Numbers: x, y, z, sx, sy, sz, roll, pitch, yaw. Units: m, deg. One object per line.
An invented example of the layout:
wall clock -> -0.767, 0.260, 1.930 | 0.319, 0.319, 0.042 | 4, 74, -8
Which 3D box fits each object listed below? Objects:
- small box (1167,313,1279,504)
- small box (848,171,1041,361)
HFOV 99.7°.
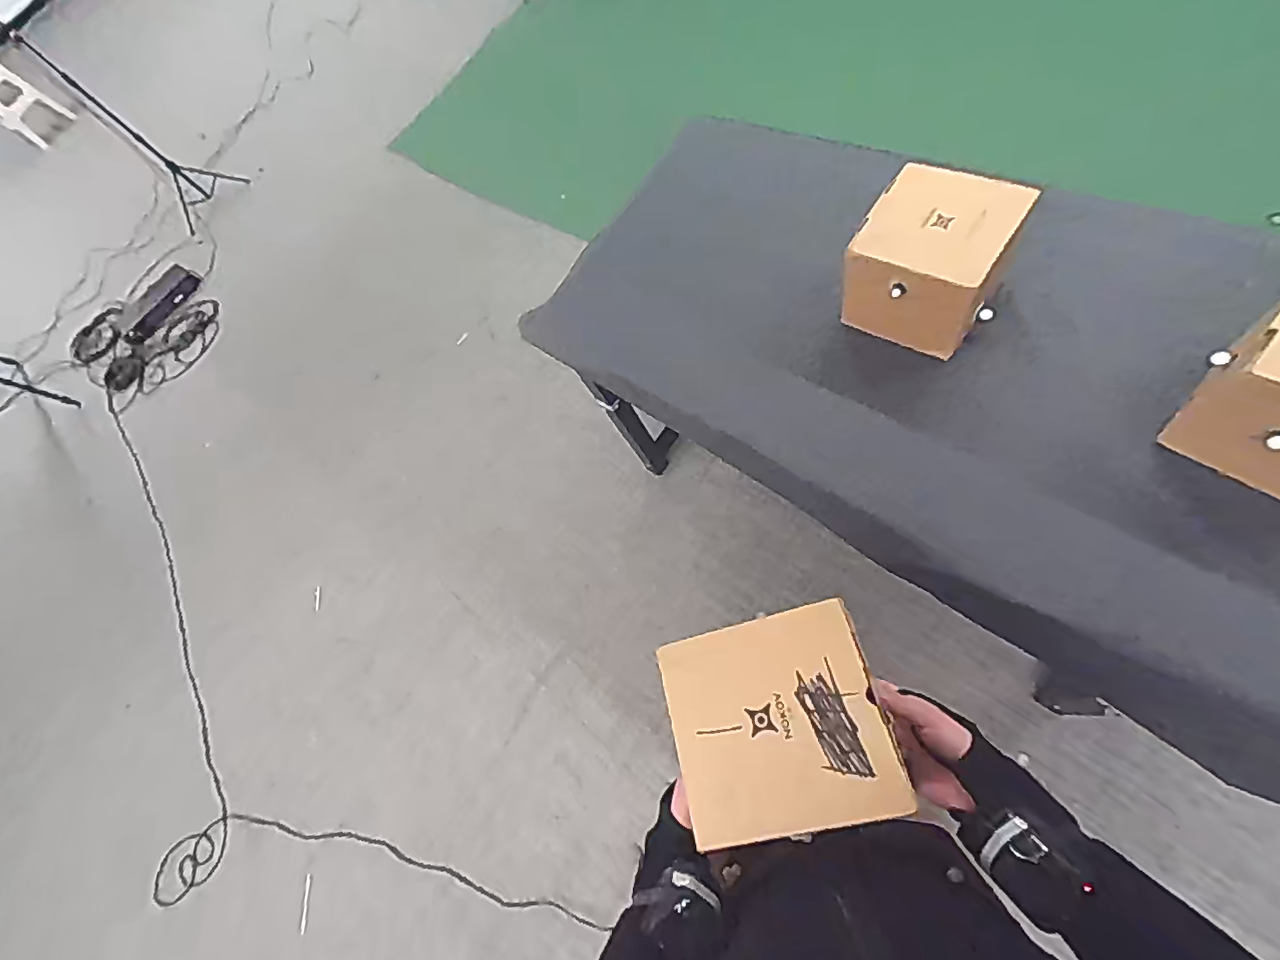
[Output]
small box -> 0.738, -0.083, 0.578 | 0.179, 0.176, 0.168 | 39, 85, 28
small box -> 0.419, -0.300, 0.780 | 0.179, 0.176, 0.168 | 32, 82, 26
